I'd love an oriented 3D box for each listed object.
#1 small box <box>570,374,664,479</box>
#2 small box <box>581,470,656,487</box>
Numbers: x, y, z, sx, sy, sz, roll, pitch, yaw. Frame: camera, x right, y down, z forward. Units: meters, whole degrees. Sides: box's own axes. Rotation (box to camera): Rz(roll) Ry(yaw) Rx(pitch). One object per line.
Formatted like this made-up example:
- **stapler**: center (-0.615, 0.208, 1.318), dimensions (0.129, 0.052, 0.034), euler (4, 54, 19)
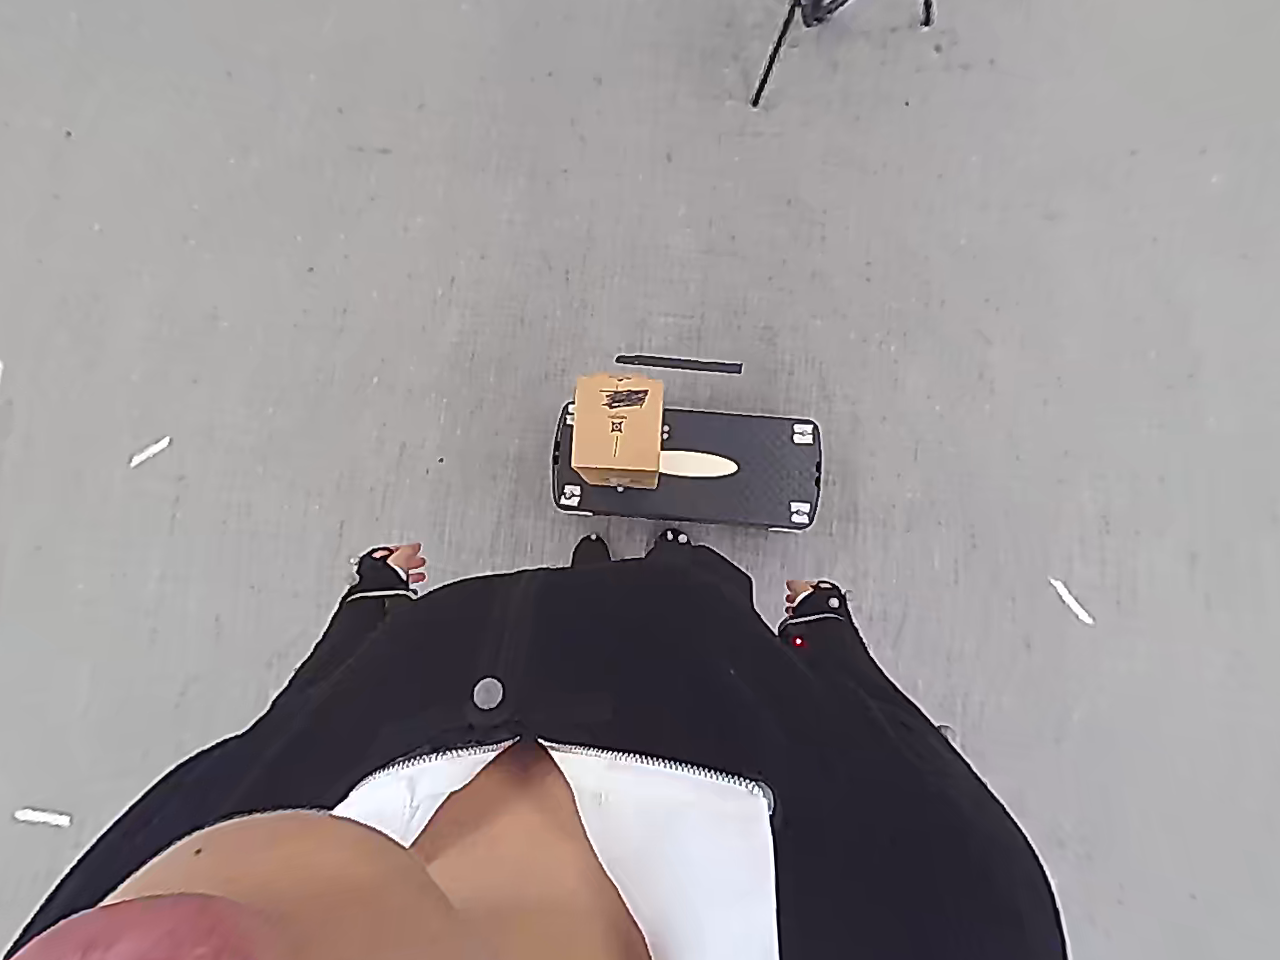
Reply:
- **small box**: center (-0.043, -0.101, 1.086), dimensions (0.168, 0.176, 0.179), euler (4, 85, 1)
- **small box**: center (-0.040, -0.080, 1.249), dimensions (0.168, 0.176, 0.179), euler (5, 85, 1)
